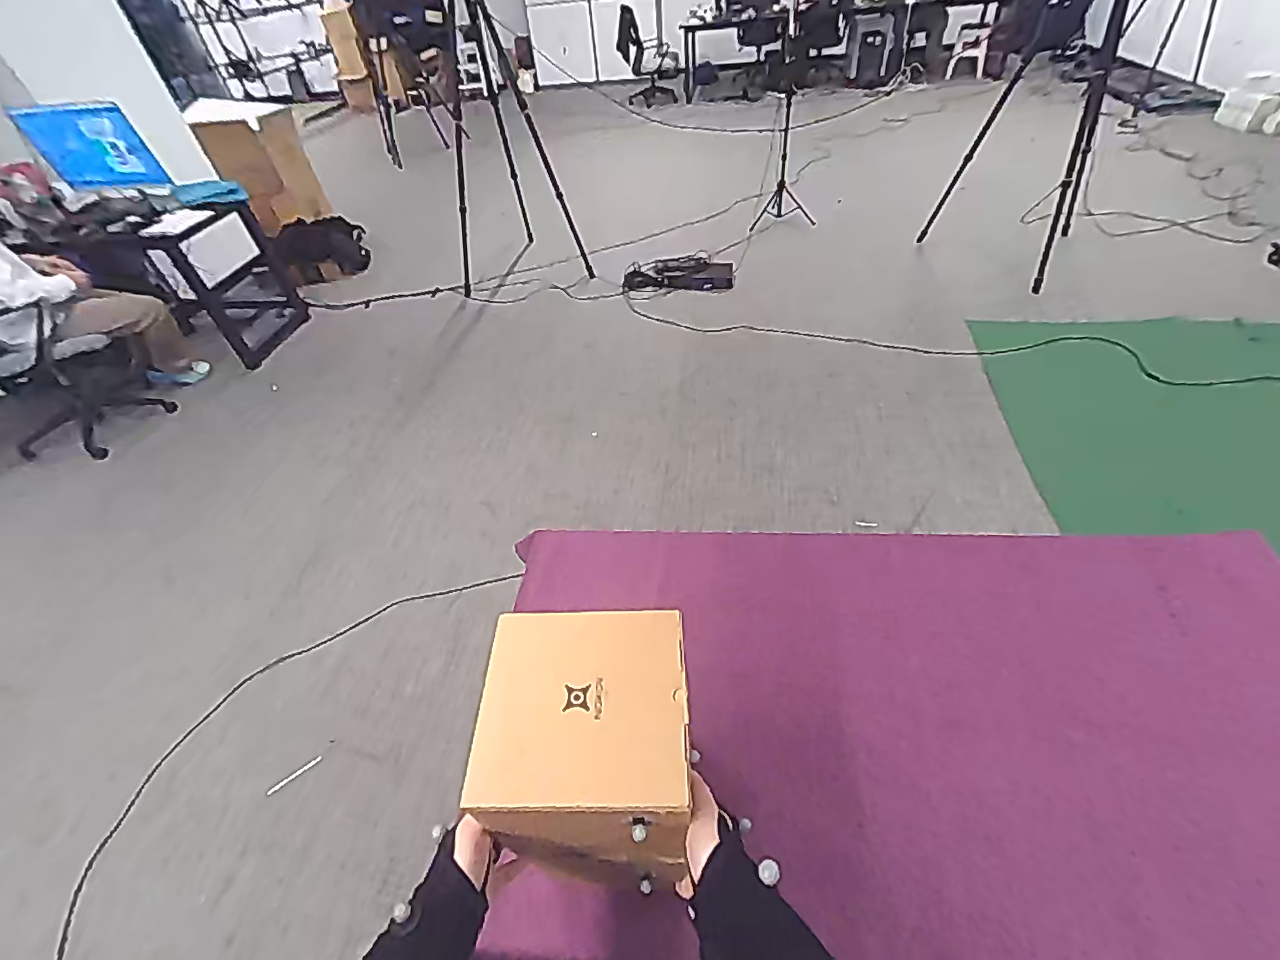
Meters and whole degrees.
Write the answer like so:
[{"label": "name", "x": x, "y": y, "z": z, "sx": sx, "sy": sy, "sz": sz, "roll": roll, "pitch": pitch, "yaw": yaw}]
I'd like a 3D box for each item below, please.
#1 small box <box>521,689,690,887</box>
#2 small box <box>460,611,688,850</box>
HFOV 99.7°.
[{"label": "small box", "x": -0.026, "y": 0.359, "z": 0.638, "sx": 0.168, "sy": 0.176, "sz": 0.179, "roll": 0, "pitch": 45, "yaw": 5}, {"label": "small box", "x": -0.045, "y": 0.240, "z": 0.515, "sx": 0.179, "sy": 0.176, "sz": 0.168, "roll": -1, "pitch": 46, "yaw": 2}]
